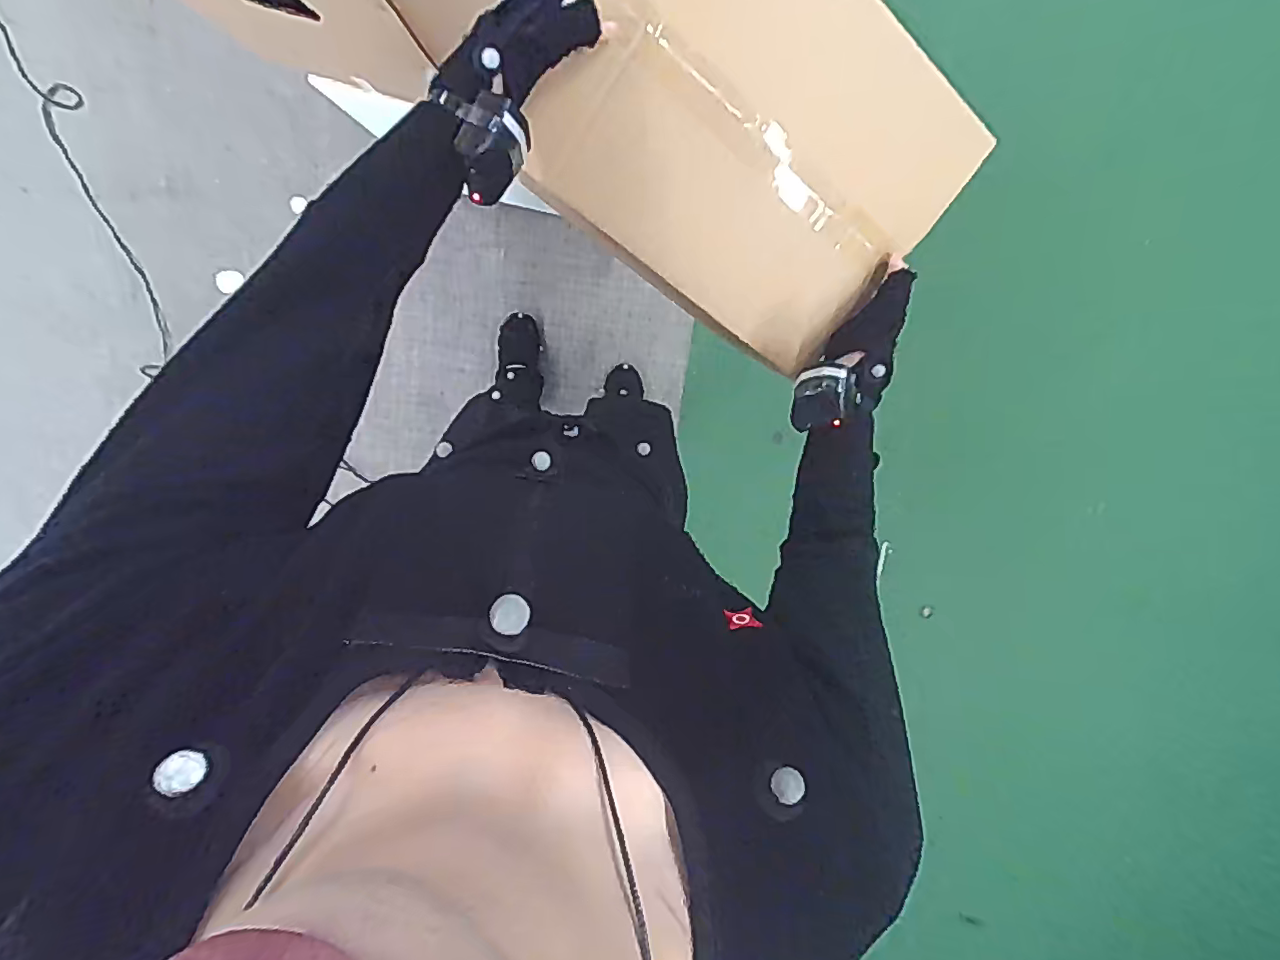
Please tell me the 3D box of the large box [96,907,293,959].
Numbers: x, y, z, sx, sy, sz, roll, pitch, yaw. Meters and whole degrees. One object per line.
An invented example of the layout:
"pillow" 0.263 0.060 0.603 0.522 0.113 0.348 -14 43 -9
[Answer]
"large box" -1.177 1.361 1.368 0.408 0.320 0.320 8 99 -3
